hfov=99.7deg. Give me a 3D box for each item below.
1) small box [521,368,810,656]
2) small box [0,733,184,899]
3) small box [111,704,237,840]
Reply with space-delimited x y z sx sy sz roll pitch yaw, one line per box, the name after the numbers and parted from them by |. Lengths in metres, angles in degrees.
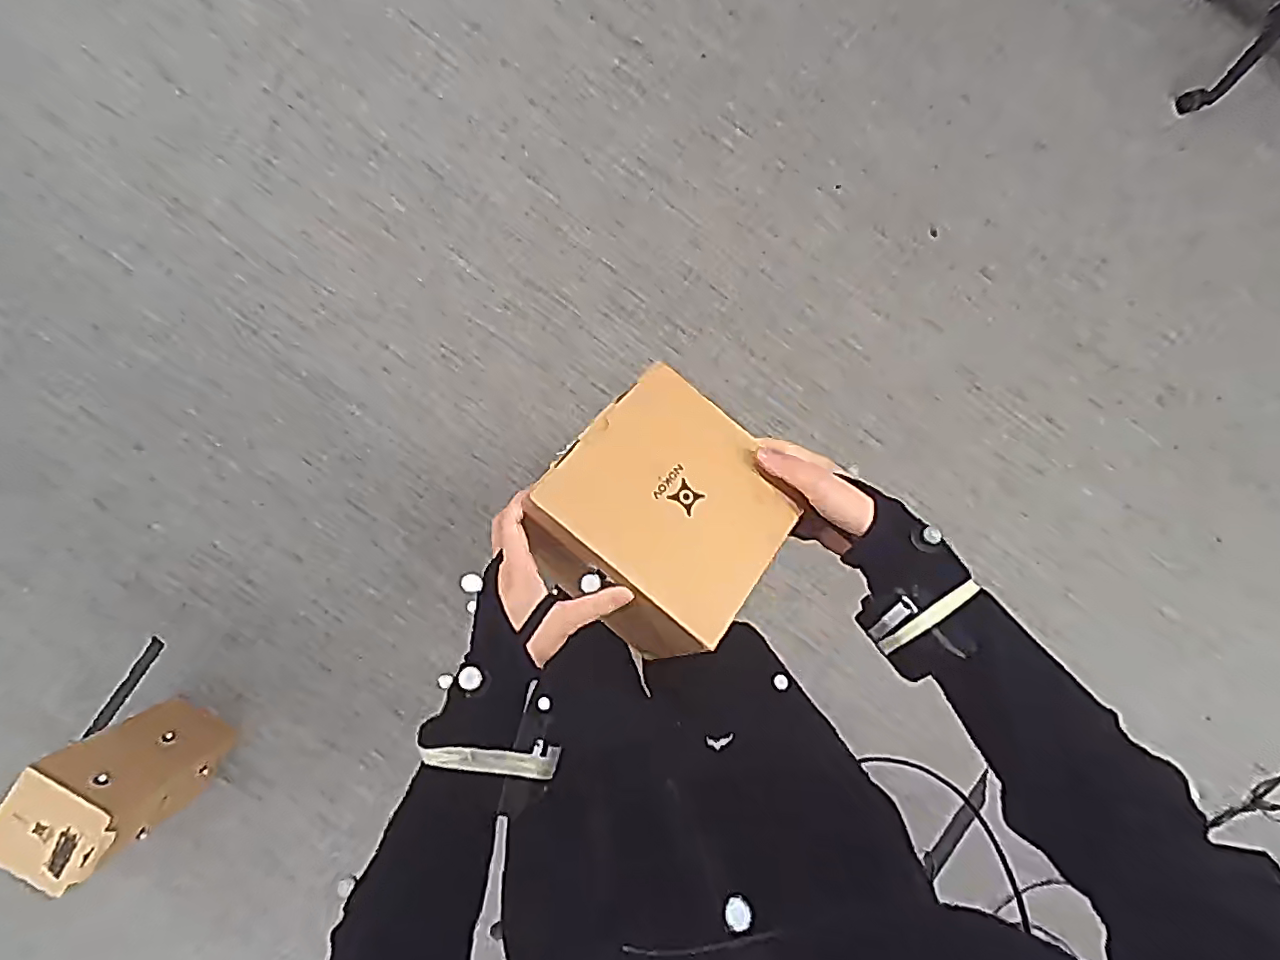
0.011 0.041 0.490 0.179 0.176 0.168 37 65 3 | small box
-1.026 0.612 1.011 0.179 0.176 0.168 32 87 -2 | small box
-1.040 0.620 1.175 0.179 0.176 0.168 31 86 -1 | small box
